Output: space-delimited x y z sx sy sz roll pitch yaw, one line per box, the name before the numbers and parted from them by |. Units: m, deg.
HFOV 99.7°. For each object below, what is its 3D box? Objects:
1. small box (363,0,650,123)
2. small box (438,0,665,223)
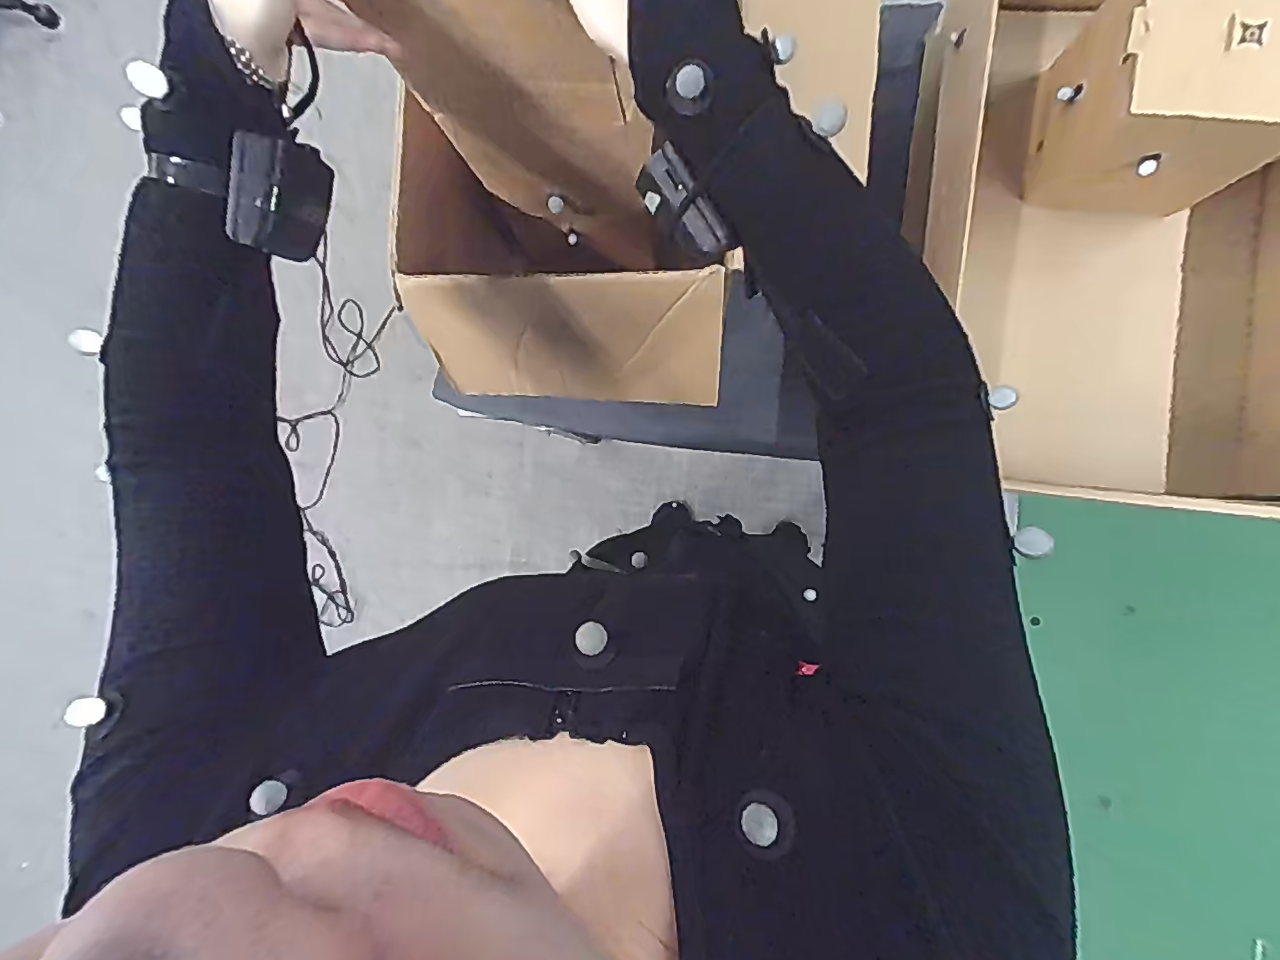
small box | -0.090 -0.375 0.362 0.179 0.176 0.168 9 92 6
small box | -0.070 -0.378 0.522 0.168 0.176 0.179 8 93 6
